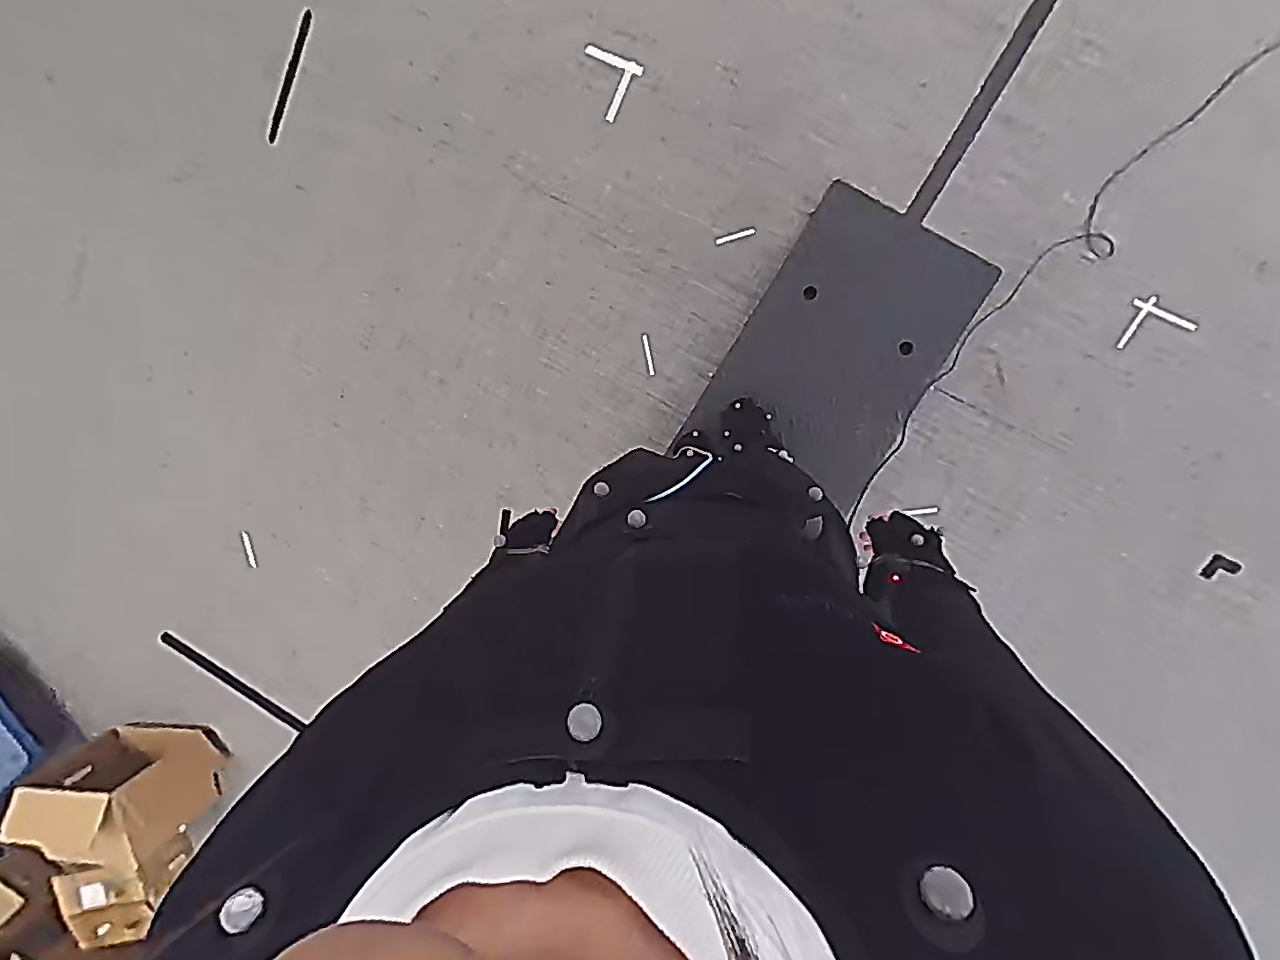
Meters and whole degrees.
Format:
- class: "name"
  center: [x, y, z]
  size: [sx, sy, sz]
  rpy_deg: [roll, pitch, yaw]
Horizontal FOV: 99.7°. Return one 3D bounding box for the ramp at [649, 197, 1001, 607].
- class: "ramp"
  center: [0.474, -0.216, 1.428]
  size: [0.509, 0.206, 0.991]
  rpy_deg: [29, 101, 8]
